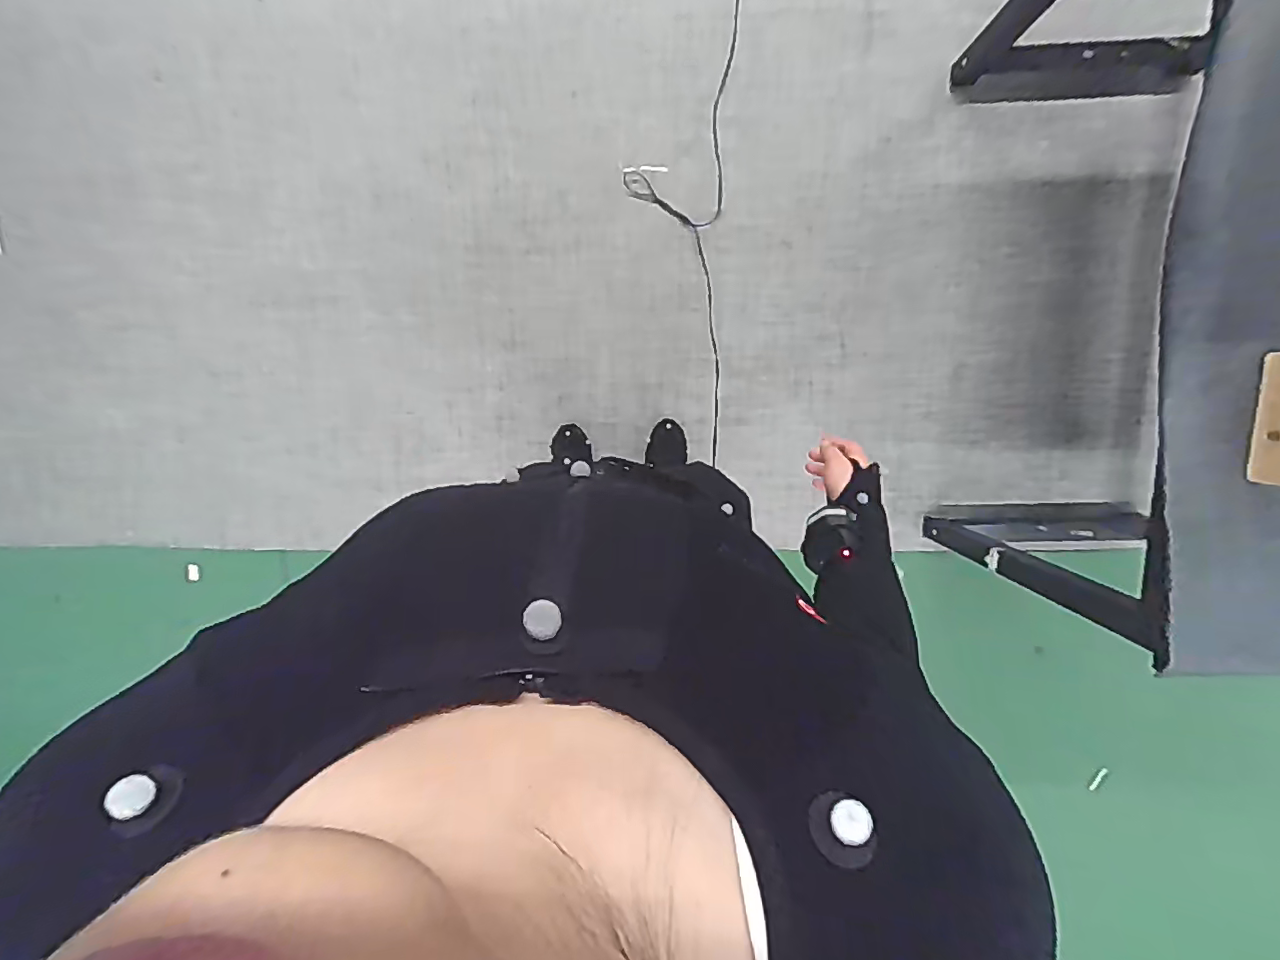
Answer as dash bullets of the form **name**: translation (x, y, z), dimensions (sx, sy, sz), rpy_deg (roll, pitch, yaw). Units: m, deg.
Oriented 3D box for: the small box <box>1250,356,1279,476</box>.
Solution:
- **small box**: translation (0.880, -0.078, 0.621), dimensions (0.179, 0.176, 0.168), rpy_deg (-1, 99, 1)
